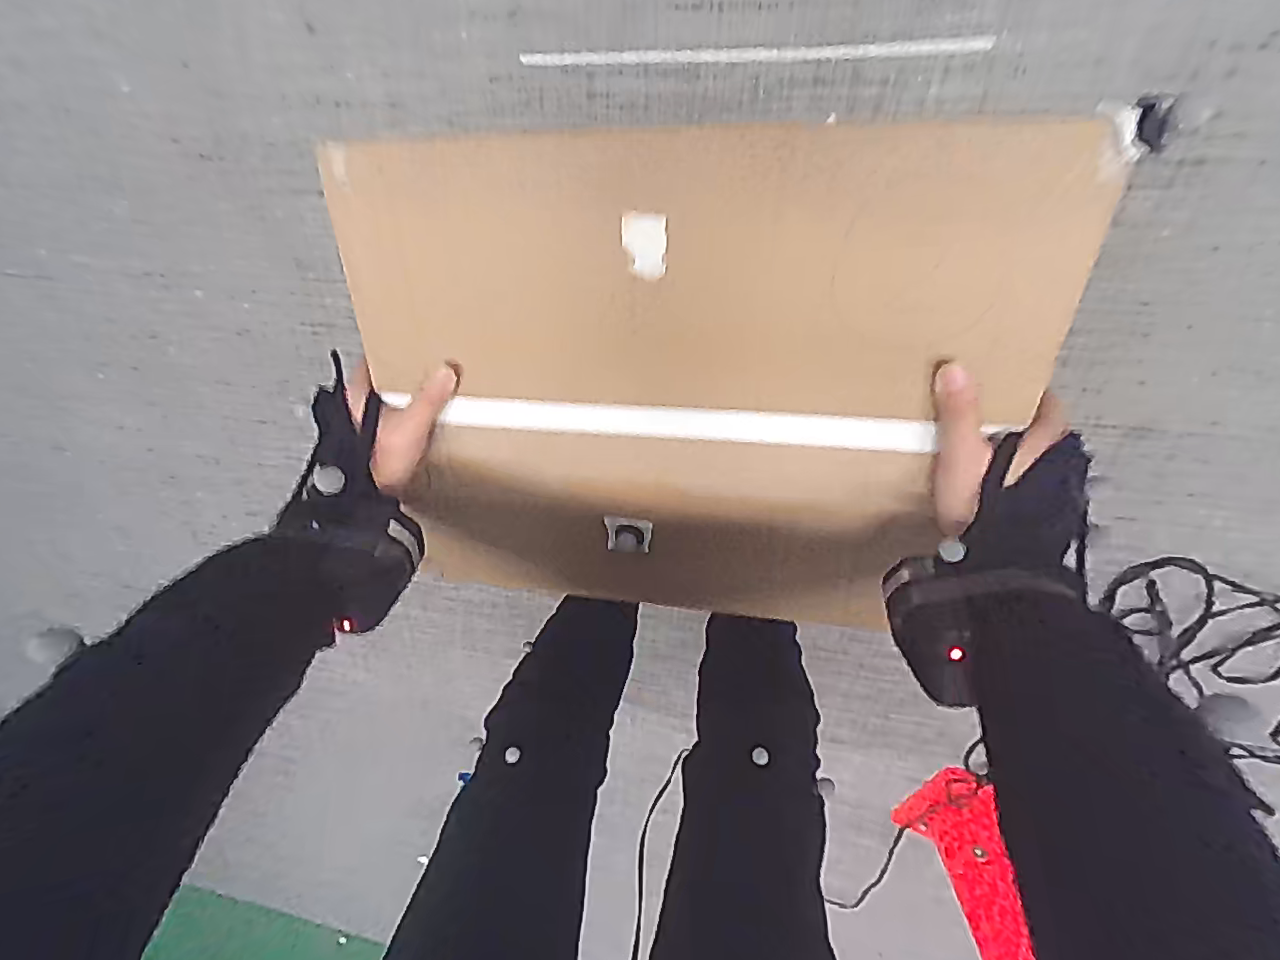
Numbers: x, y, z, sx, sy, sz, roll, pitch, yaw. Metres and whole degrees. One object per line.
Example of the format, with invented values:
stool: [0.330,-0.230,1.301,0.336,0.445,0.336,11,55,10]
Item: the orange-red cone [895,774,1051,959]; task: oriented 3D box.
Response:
orange-red cone: [0.561,0.690,0.828,0.199,0.360,0.198,23,121,0]
